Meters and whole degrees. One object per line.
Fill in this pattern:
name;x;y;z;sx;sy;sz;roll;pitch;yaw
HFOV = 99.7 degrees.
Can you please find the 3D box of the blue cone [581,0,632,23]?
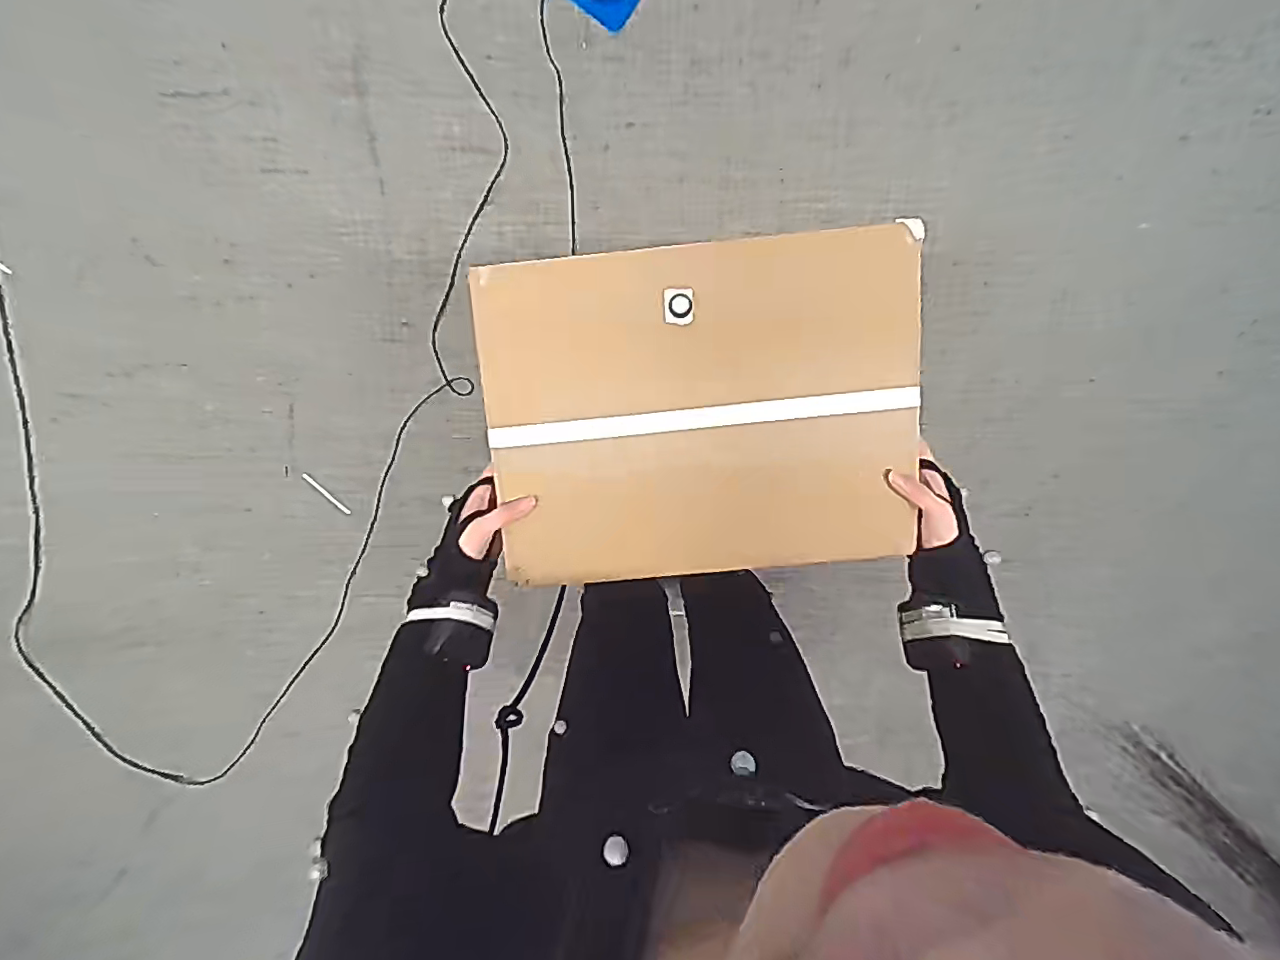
blue cone;-0.067;-1.034;0.932;0.192;0.380;0.193;32;97;-6
